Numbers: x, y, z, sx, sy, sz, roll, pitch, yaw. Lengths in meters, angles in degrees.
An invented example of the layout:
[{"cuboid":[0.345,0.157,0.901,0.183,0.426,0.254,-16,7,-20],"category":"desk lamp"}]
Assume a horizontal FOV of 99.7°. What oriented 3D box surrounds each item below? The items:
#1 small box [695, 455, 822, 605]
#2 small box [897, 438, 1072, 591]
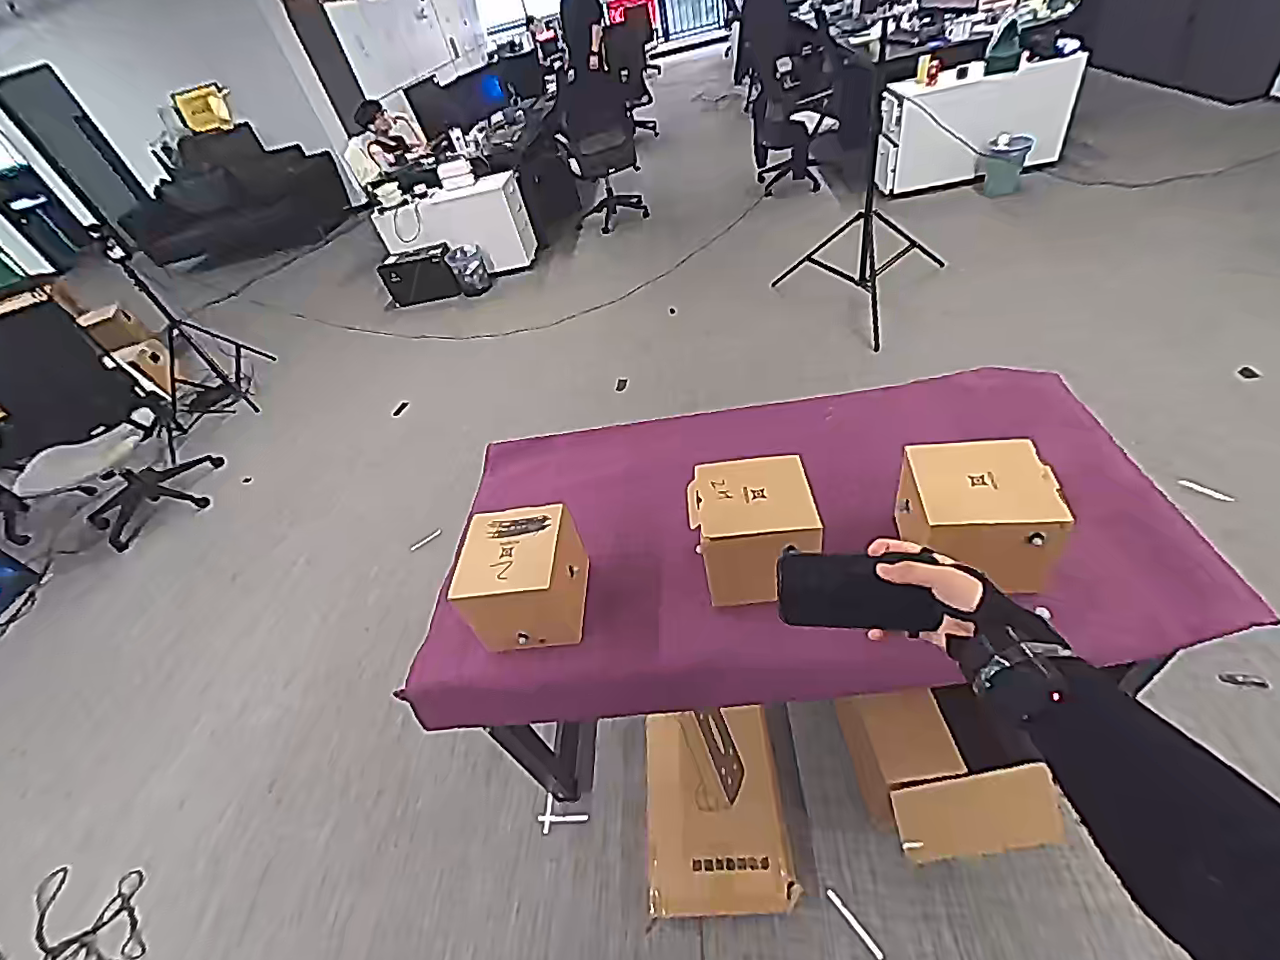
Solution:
[{"cuboid":[0.190,0.085,0.886,0.179,0.176,0.168,-9,41,8],"category":"small box"},{"cuboid":[0.501,0.056,0.823,0.179,0.176,0.168,-3,44,13],"category":"small box"}]
